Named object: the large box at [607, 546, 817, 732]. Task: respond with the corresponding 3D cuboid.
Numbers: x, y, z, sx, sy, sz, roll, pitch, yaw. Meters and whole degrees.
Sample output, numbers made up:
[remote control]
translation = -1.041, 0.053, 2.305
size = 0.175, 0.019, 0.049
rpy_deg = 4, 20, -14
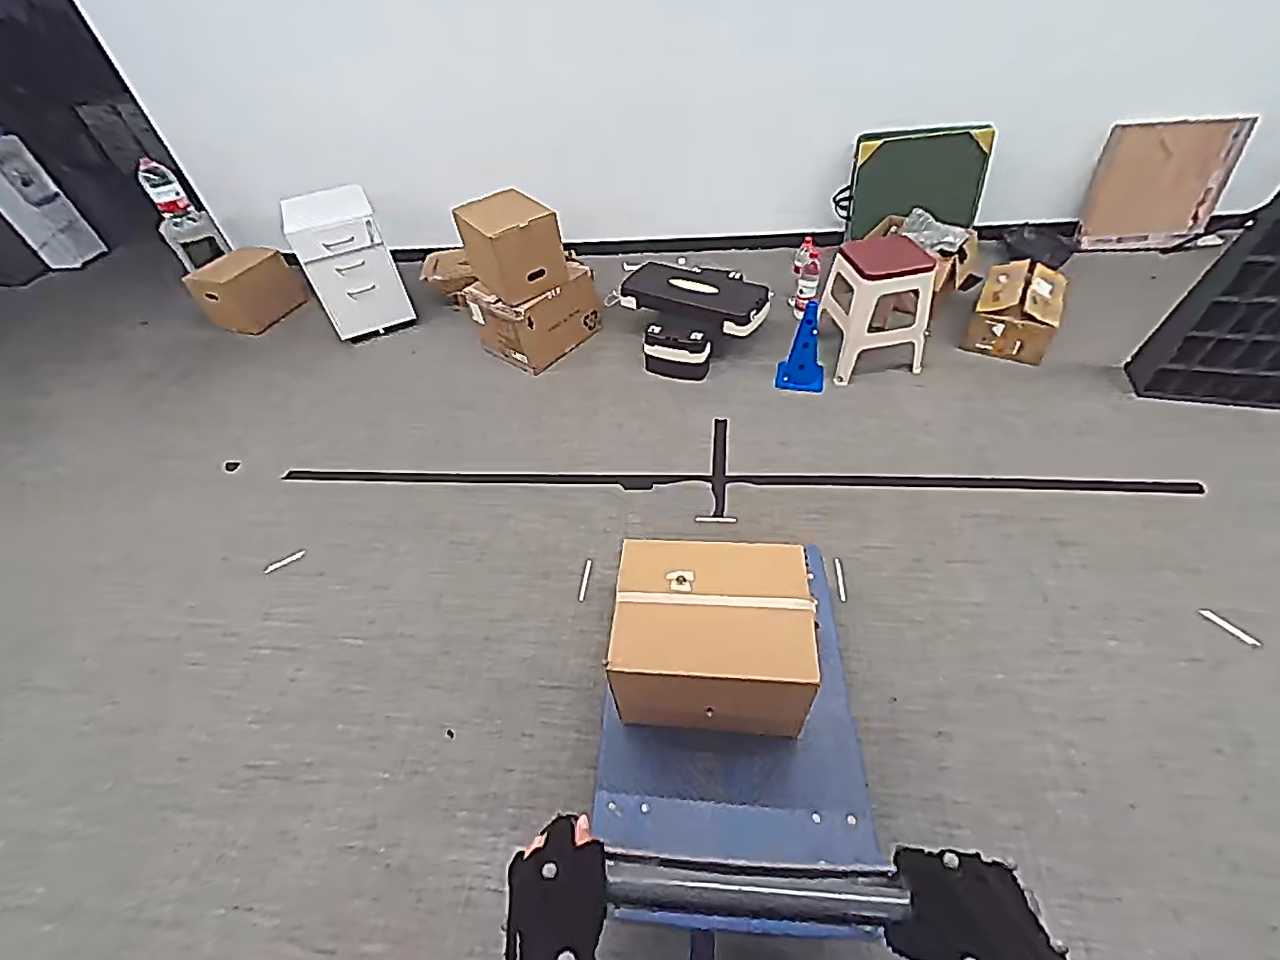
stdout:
[large box]
translation = 0.160, 0.363, 1.233
size = 0.408, 0.320, 0.320
rpy_deg = 0, 48, 8
